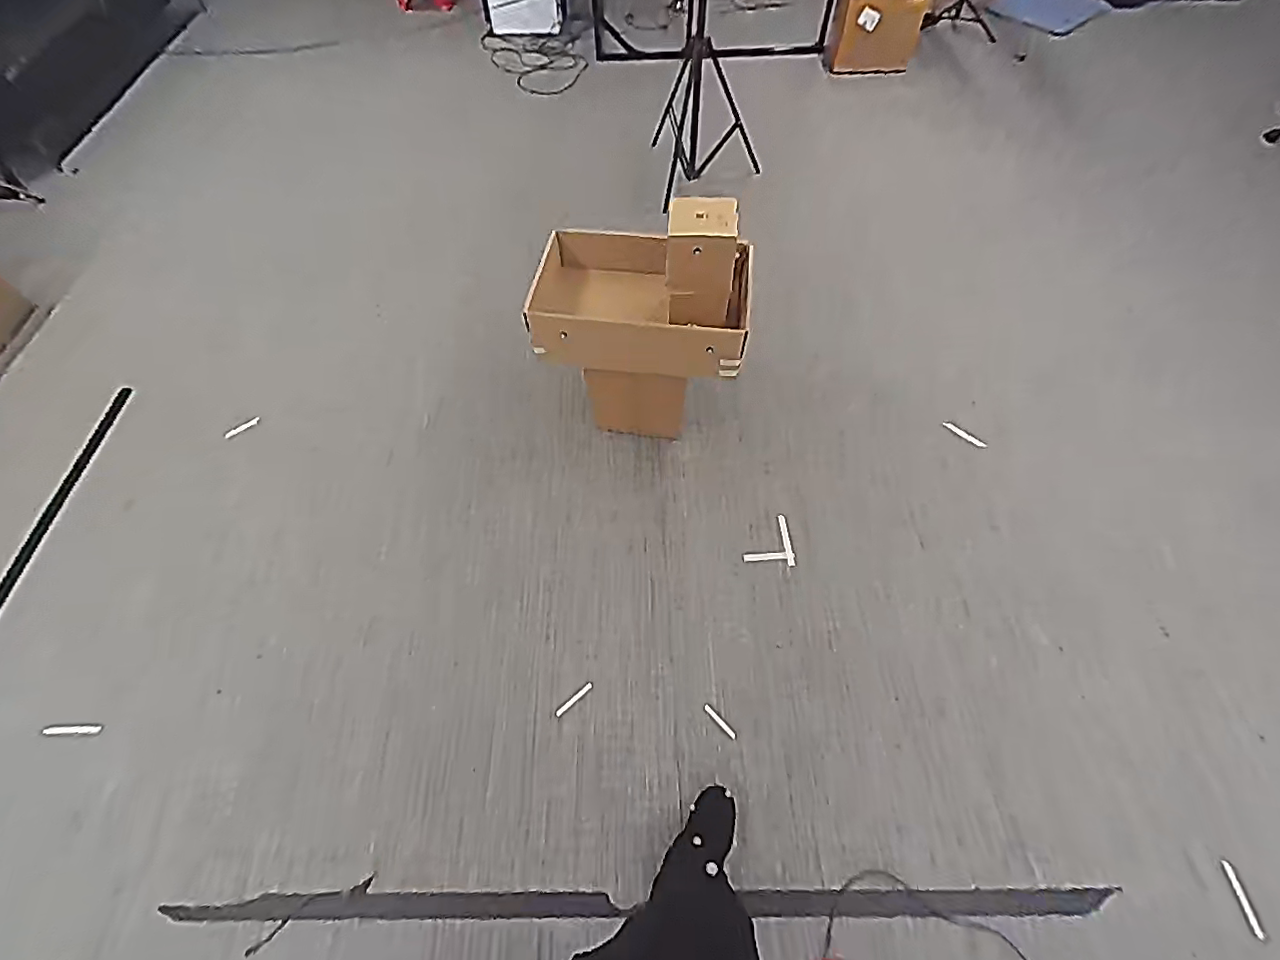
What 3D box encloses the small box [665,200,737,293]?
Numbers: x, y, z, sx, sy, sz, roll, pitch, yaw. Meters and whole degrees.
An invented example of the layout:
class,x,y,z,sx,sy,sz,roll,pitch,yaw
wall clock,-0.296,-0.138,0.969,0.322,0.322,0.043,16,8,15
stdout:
class,x,y,z,sx,sy,sz,roll,pitch,yaw
small box,0.159,-0.614,1.427,0.179,0.176,0.168,3,58,4
